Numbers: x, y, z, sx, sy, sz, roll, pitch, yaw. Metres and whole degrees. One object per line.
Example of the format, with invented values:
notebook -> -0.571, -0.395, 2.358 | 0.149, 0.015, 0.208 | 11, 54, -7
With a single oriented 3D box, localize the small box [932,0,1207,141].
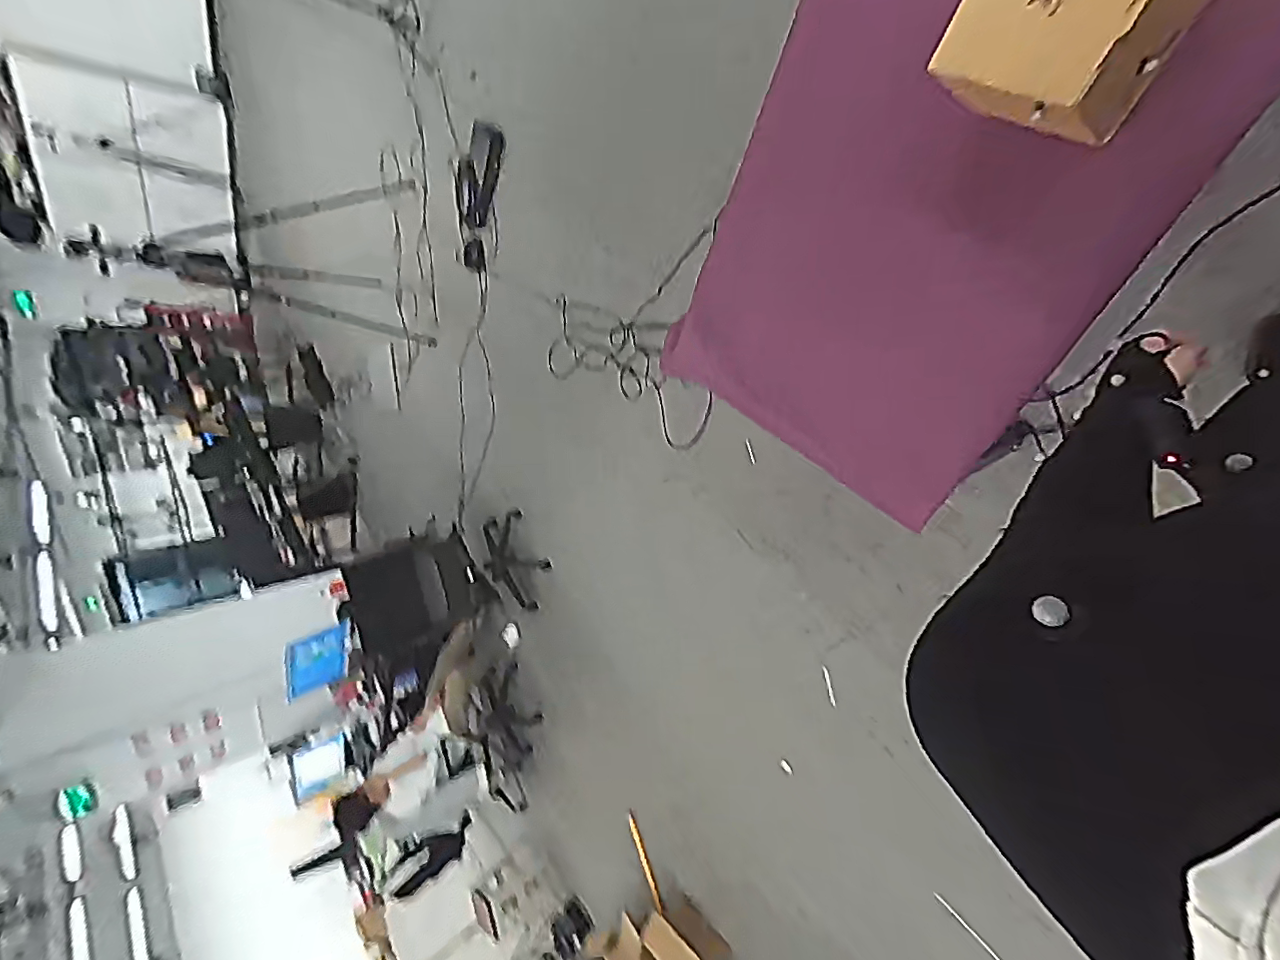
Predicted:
small box -> 0.481, -0.510, 0.608 | 0.179, 0.176, 0.168 | 45, 129, 31
